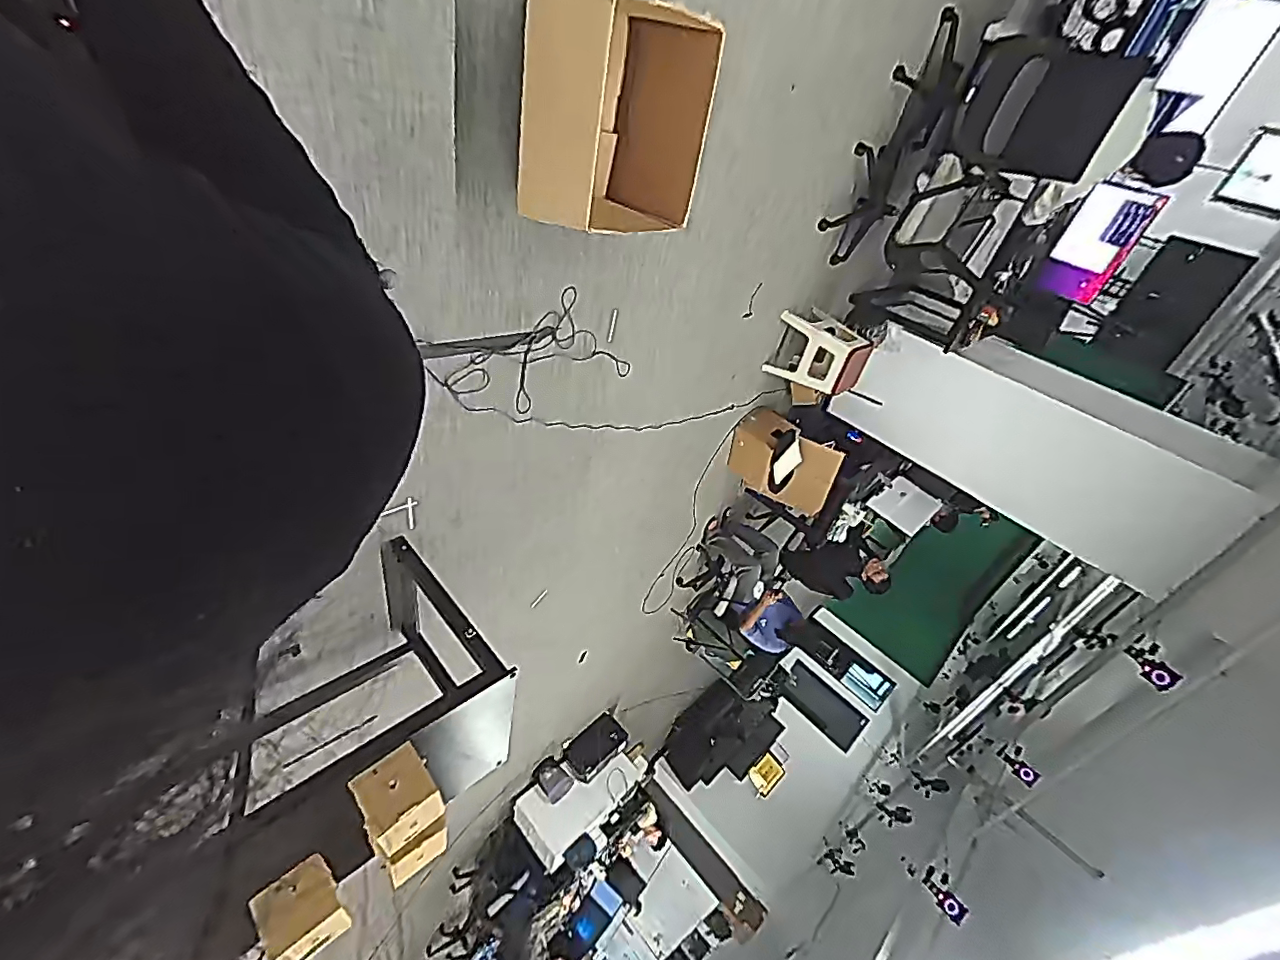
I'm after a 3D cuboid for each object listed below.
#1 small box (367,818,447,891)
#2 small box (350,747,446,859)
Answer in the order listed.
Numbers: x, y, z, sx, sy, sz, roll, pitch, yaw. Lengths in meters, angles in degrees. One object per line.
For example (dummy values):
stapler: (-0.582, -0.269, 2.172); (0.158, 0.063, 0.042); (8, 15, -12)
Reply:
small box: (-0.692, 1.058, 1.608); (0.168, 0.176, 0.179); (-23, 140, -41)
small box: (-0.643, 0.851, 1.440); (0.168, 0.176, 0.179); (-29, 144, -35)
